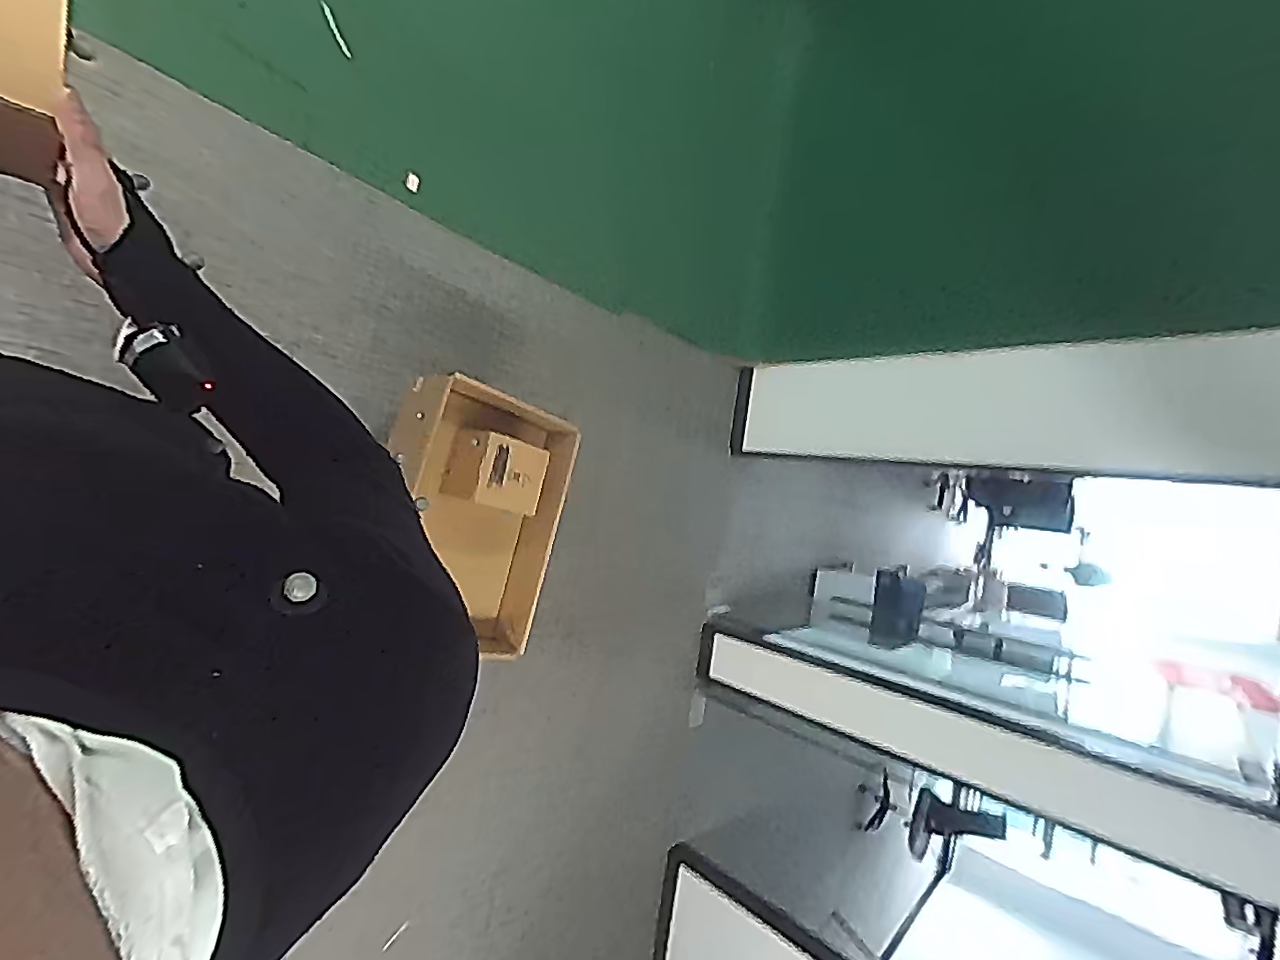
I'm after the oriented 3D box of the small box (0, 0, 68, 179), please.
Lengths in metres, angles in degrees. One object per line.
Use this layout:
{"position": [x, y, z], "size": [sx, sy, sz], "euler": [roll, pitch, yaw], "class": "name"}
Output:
{"position": [-0.541, -0.354, 0.389], "size": [0.168, 0.176, 0.179], "euler": [0, 97, -51], "class": "small box"}
